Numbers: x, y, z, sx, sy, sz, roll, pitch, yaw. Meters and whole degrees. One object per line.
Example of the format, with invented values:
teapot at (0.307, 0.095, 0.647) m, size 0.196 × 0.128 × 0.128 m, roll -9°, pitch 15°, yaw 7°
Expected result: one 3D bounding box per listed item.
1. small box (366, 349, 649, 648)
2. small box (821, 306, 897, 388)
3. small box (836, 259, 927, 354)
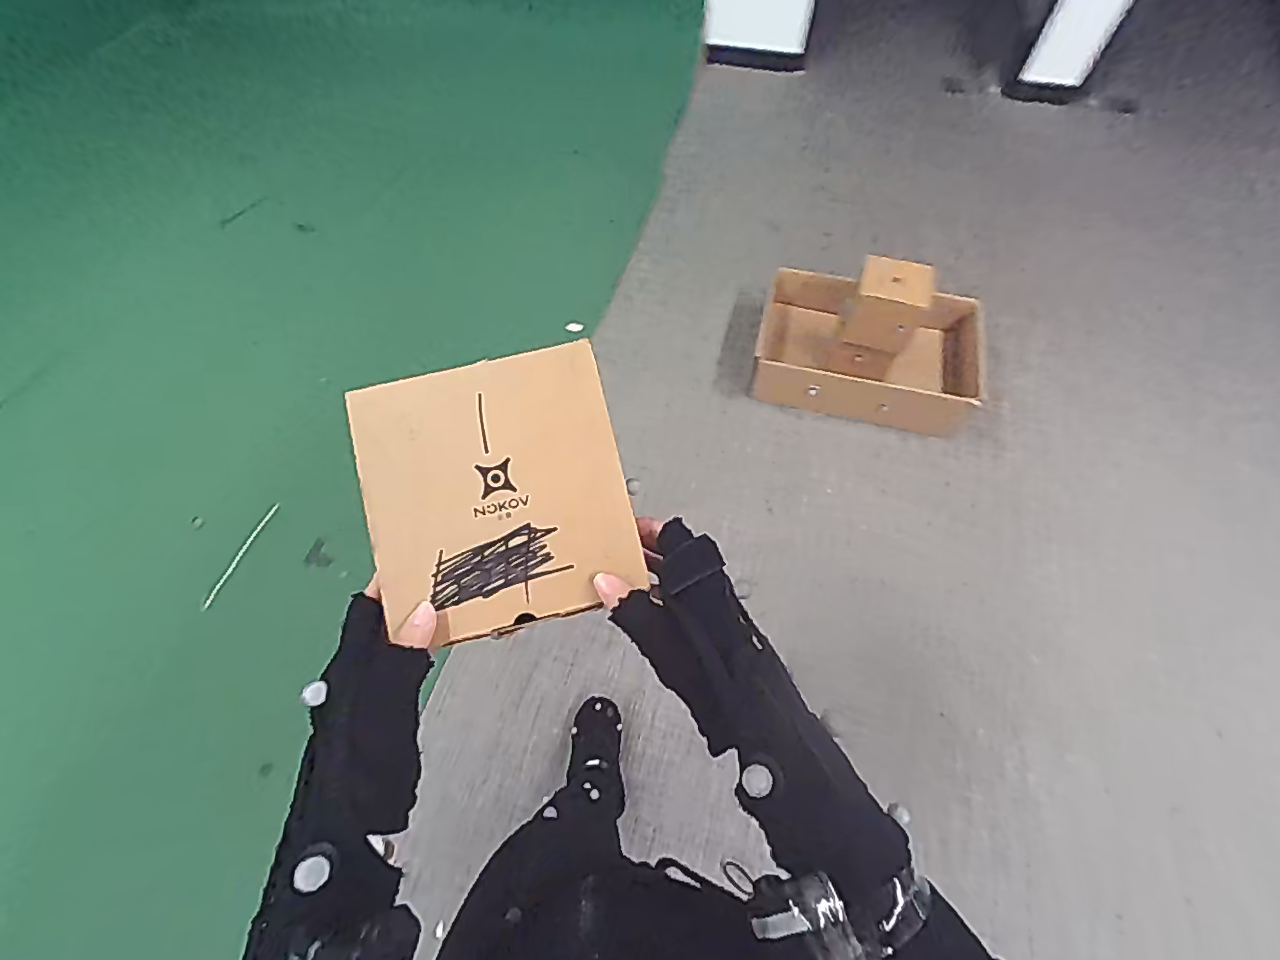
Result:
small box at (-0.091, 0.020, 0.439) m, size 0.168 × 0.176 × 0.179 m, roll -13°, pitch 81°, yaw -4°
small box at (0.660, -0.399, 1.639) m, size 0.179 × 0.176 × 0.168 m, roll 11°, pitch 60°, yaw 7°
small box at (0.652, -0.465, 1.468) m, size 0.179 × 0.176 × 0.168 m, roll 12°, pitch 61°, yaw 7°
